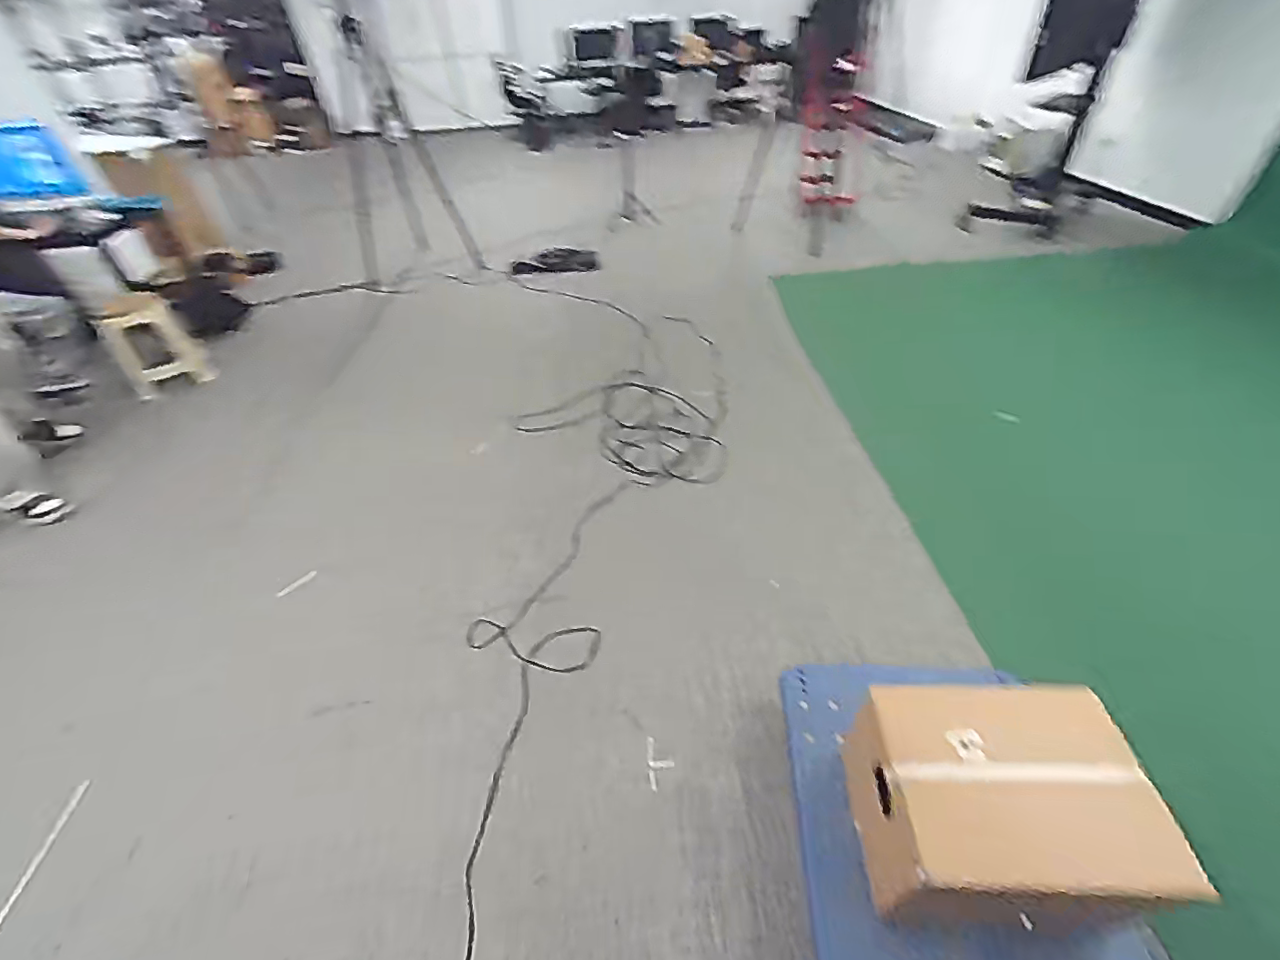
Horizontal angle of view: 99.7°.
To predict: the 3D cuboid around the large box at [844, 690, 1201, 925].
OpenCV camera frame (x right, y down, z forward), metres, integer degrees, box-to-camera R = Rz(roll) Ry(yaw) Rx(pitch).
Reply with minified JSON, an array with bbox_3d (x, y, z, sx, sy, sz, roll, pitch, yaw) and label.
[{"bbox_3d":[0.643,0.612,1.011,0.408,0.320,0.320,-2,42,5],"label":"large box"}]
